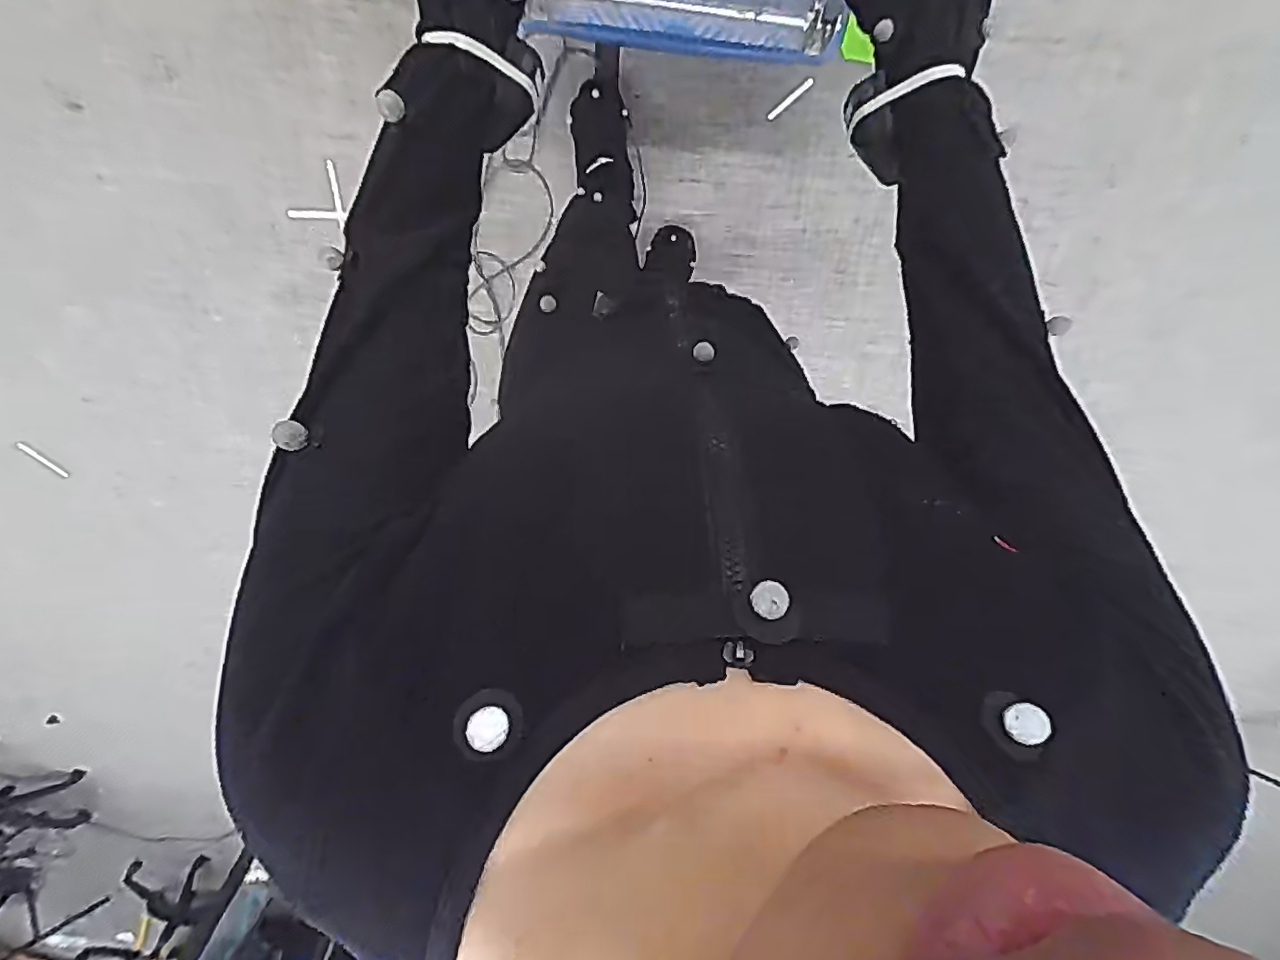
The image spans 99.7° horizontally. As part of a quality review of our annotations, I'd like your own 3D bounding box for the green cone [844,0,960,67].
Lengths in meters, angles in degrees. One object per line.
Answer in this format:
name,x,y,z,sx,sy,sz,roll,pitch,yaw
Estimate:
green cone,0.517,-0.847,0.899,0.202,0.368,0.200,6,121,-5
